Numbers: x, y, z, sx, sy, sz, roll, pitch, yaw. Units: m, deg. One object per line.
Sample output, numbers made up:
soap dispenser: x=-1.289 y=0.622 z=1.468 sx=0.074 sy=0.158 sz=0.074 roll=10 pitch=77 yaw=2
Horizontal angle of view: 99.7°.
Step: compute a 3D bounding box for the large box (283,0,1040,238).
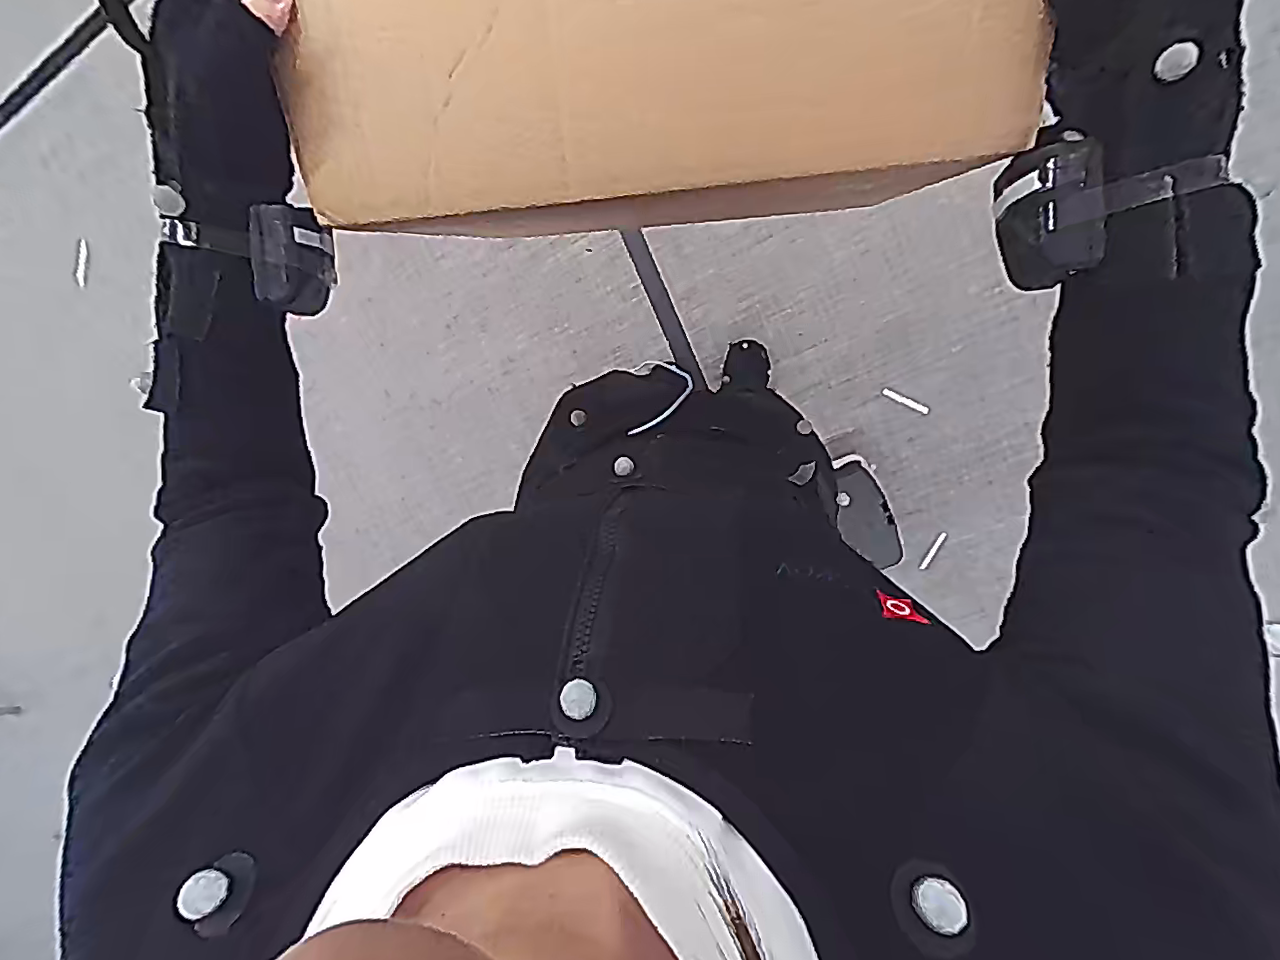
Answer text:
large box: x=0.009 y=-0.372 z=0.396 sx=0.408 sy=0.320 sz=0.320 roll=-2 pitch=113 yaw=10
